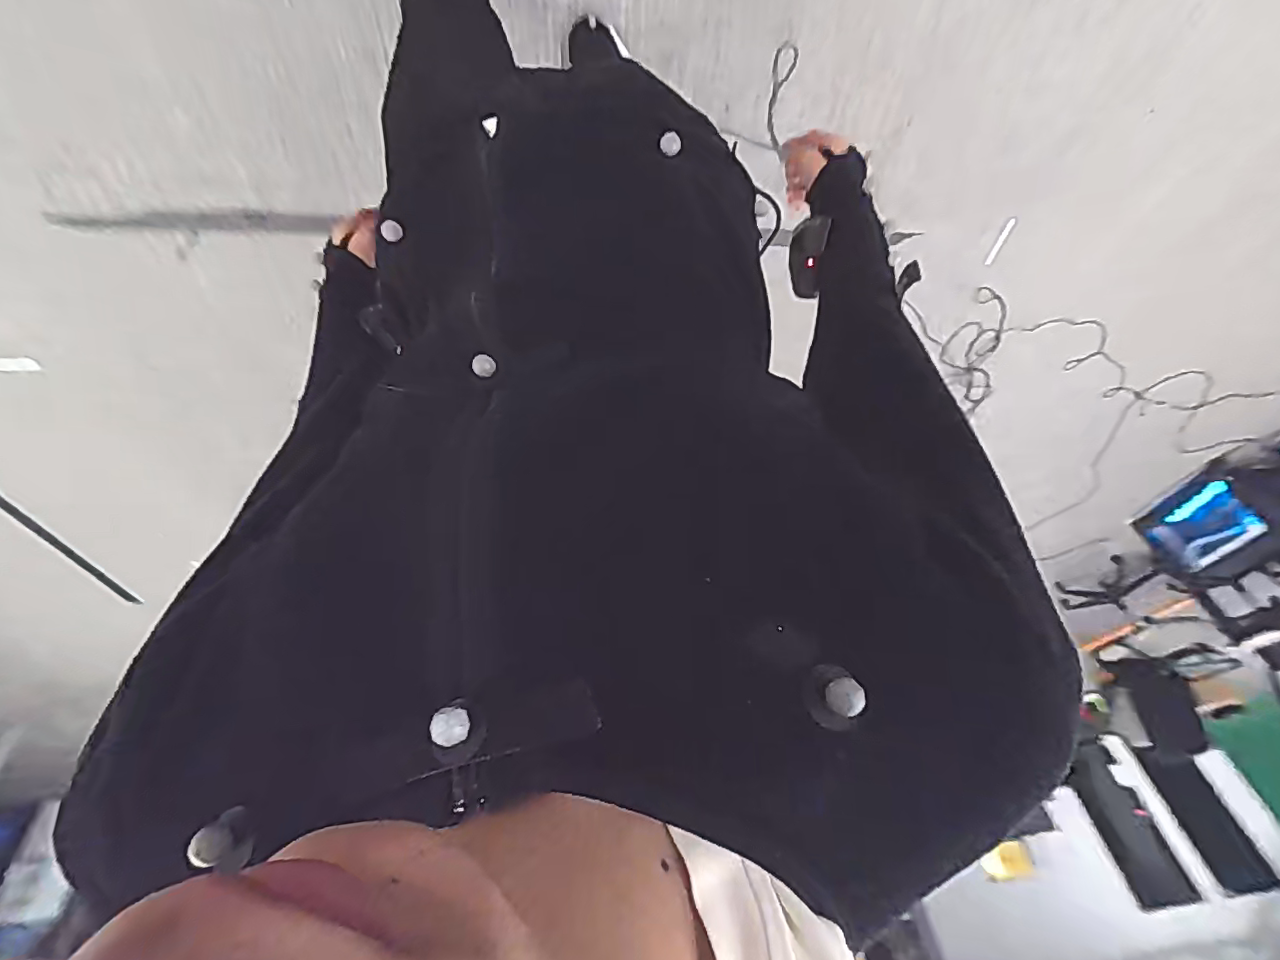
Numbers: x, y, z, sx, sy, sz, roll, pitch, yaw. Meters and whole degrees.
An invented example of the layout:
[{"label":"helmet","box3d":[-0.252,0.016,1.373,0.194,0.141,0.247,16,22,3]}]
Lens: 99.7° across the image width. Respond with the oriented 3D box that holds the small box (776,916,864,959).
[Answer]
[{"label":"small box","box3d":[0.432,1.151,1.281,0.168,0.176,0.179,-5,139,-5]}]
